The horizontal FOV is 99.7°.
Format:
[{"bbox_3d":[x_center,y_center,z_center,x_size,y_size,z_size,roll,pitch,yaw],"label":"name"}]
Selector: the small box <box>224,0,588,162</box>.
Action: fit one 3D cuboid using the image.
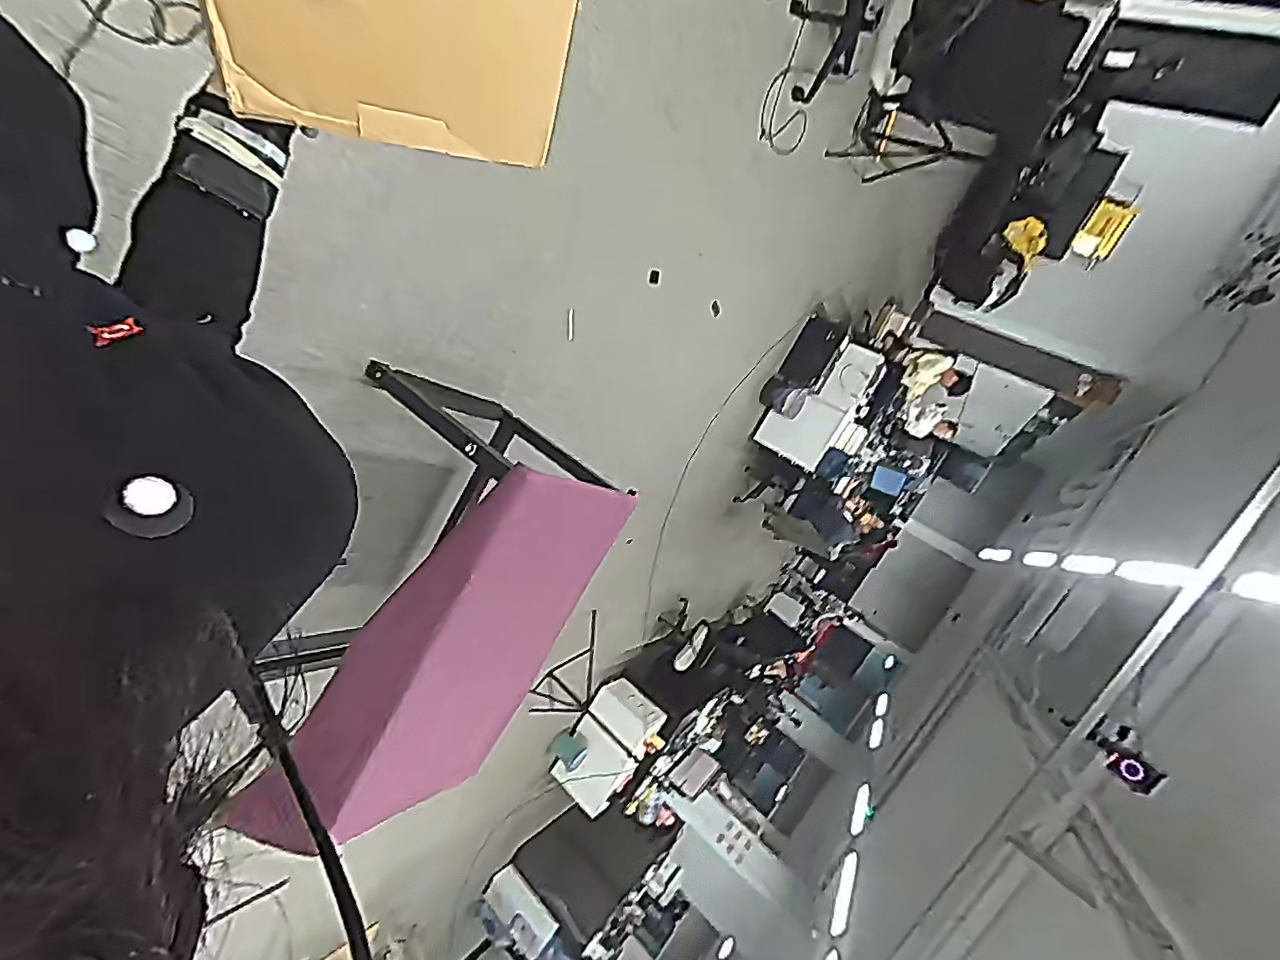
[{"bbox_3d":[-0.122,-0.306,0.277,0.168,0.179,0.176,-4,149,-27],"label":"small box"}]
